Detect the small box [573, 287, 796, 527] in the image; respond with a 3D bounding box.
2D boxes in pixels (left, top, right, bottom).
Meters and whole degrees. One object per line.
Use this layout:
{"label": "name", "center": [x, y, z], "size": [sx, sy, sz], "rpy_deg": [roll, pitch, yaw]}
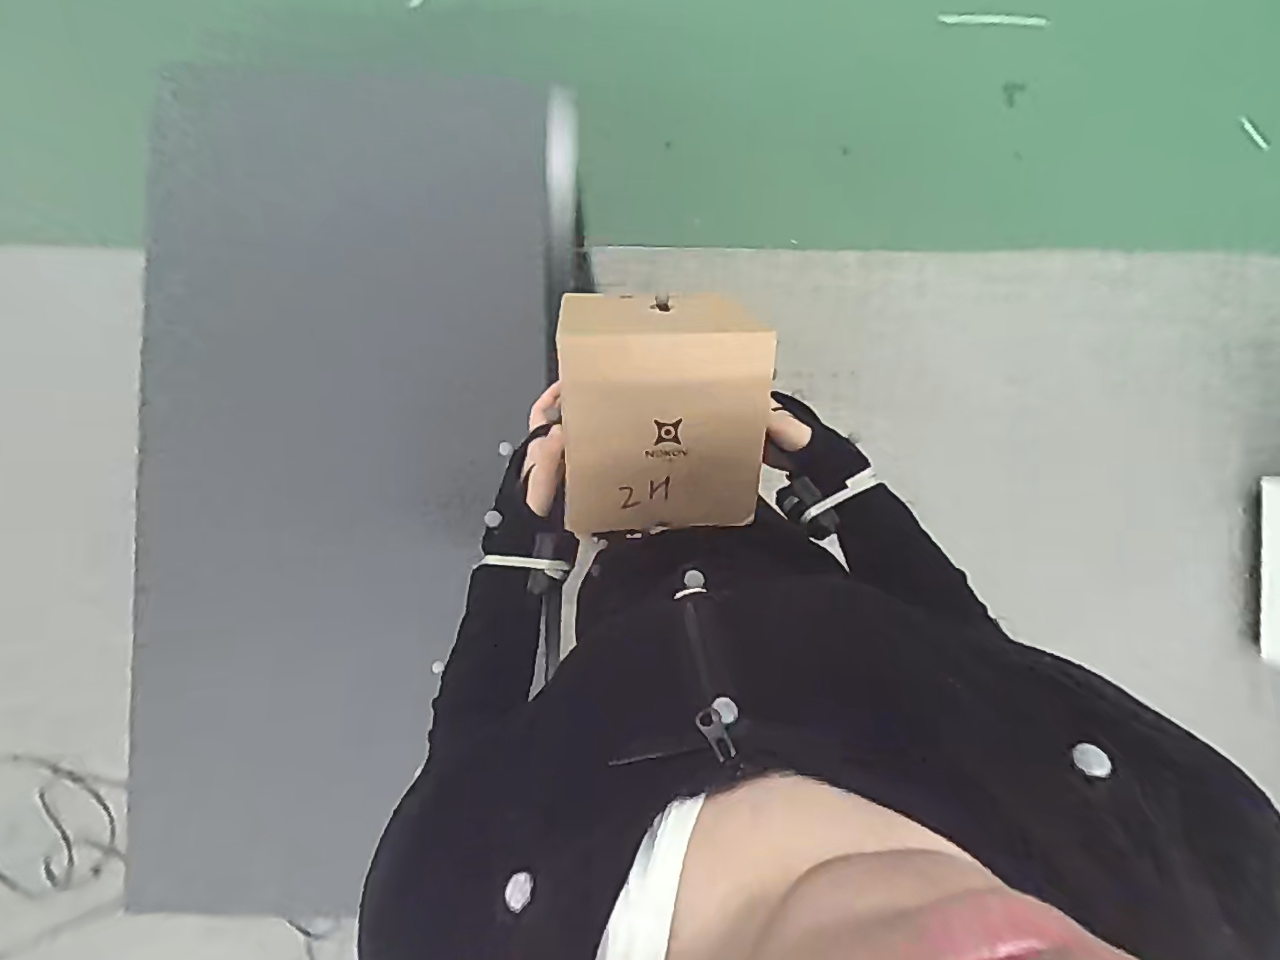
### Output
{"label": "small box", "center": [0.023, -0.075, 0.490], "size": [0.168, 0.176, 0.179], "rpy_deg": [-1, 117, -5]}
